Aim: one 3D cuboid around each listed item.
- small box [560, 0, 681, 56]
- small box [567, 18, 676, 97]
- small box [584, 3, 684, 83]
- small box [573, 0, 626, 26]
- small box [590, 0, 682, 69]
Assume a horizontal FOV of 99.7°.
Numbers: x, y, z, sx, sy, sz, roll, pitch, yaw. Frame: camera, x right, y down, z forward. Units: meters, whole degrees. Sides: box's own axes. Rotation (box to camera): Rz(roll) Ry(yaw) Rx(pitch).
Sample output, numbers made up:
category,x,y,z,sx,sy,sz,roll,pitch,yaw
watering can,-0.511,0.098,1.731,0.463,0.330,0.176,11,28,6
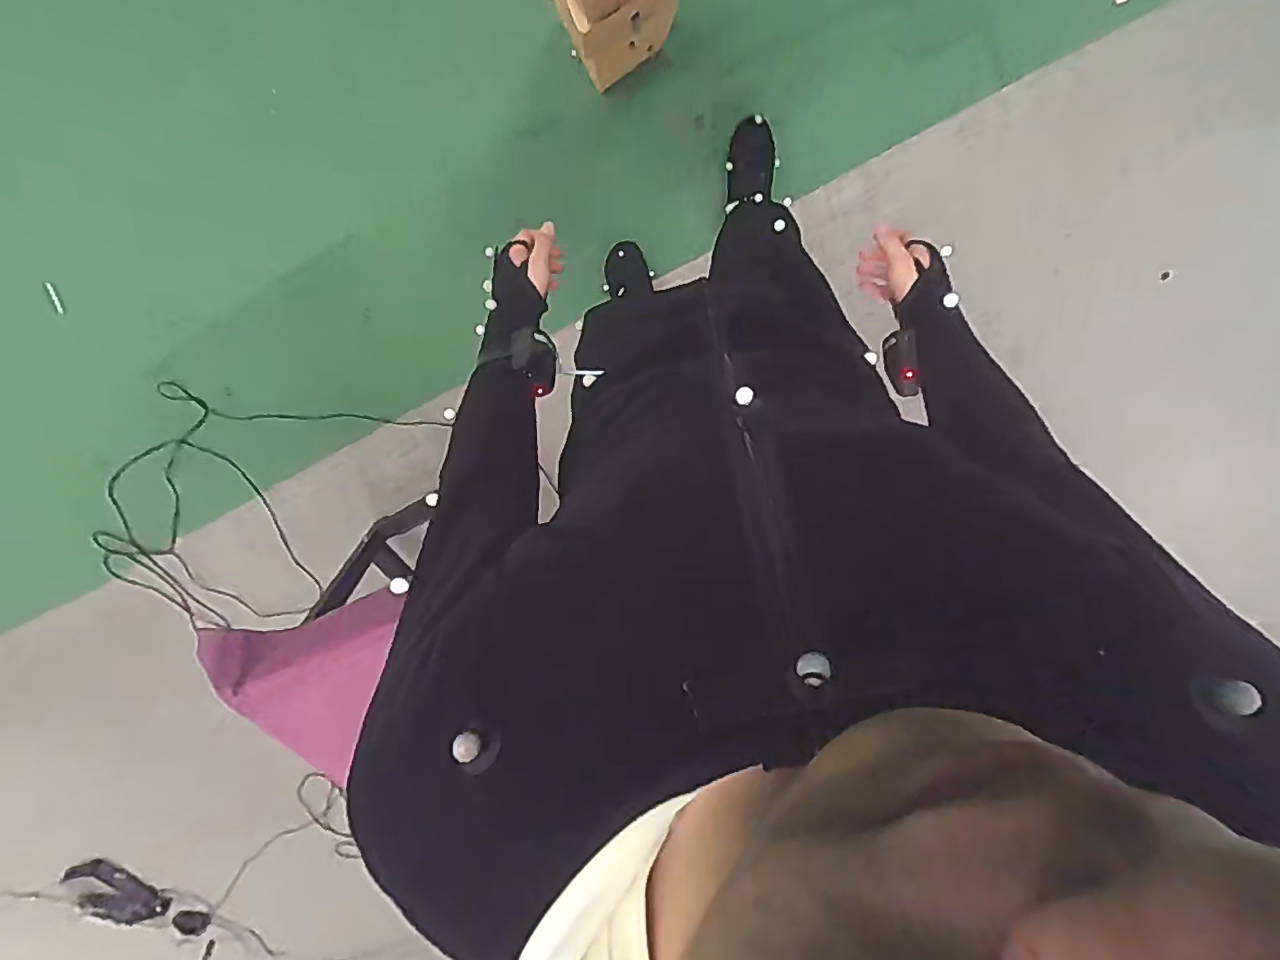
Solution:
category,x,y,z,sx,sy,sz,roll,pitch,yaw
small box,-0.042,-0.707,0.719,0.168,0.176,0.179,-26,117,11
small box,-0.045,-0.953,1.142,0.179,0.176,0.168,-29,115,12
small box,-0.039,-0.878,0.998,0.179,0.176,0.168,-27,116,12
small box,-0.037,-0.641,0.570,0.179,0.176,0.168,-33,113,16
small box,-0.038,-0.798,0.856,0.179,0.176,0.168,-29,115,12
